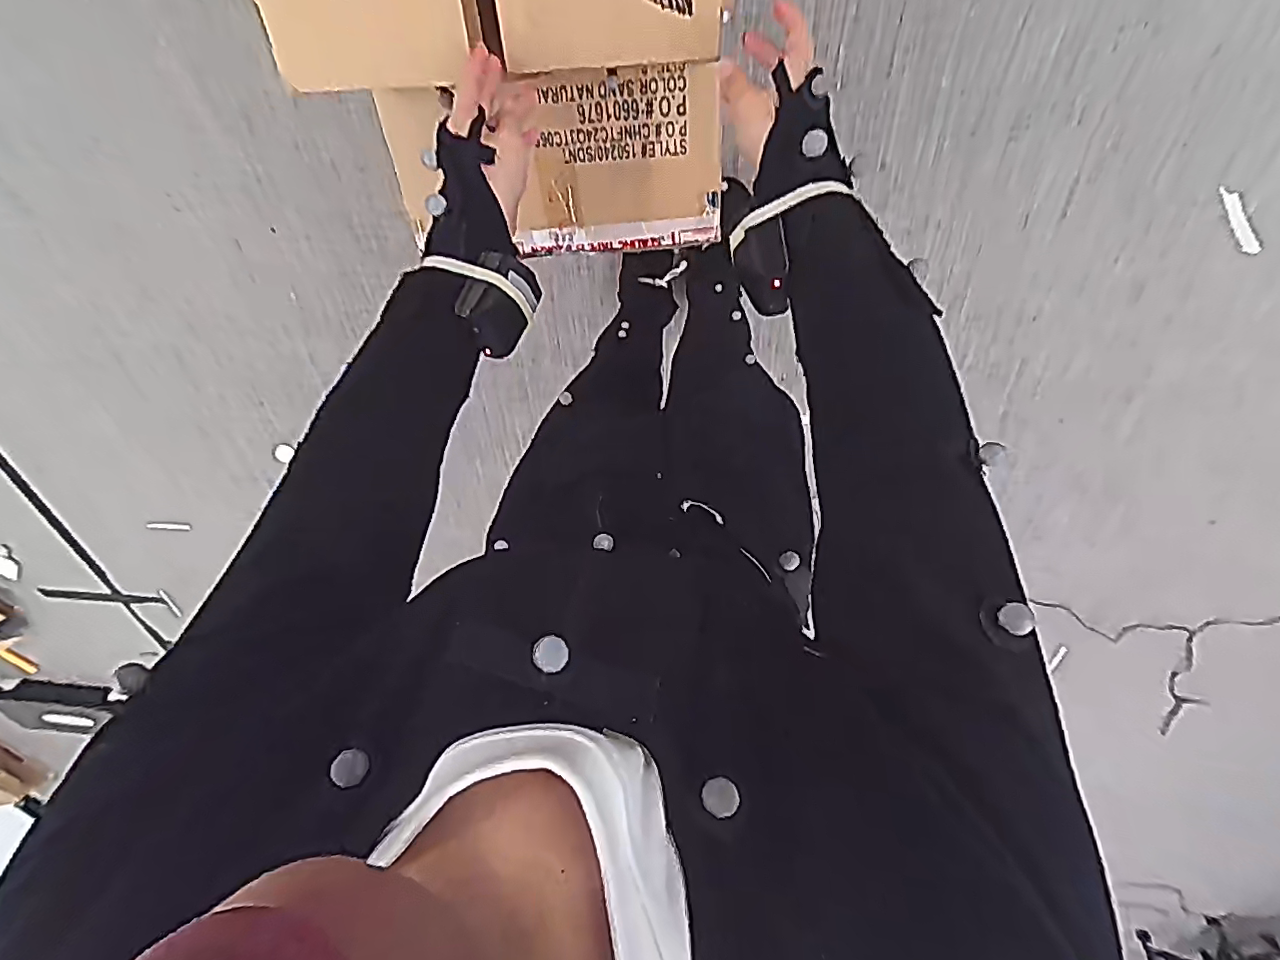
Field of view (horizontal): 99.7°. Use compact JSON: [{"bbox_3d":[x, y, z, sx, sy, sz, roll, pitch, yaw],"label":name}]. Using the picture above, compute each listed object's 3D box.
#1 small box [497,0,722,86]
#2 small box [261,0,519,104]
[{"bbox_3d":[-0.021,-0.443,0.459,0.179,0.176,0.168,0,127,6],"label":"small box"},{"bbox_3d":[-0.211,-0.441,0.481,0.179,0.176,0.168,3,126,7],"label":"small box"}]
